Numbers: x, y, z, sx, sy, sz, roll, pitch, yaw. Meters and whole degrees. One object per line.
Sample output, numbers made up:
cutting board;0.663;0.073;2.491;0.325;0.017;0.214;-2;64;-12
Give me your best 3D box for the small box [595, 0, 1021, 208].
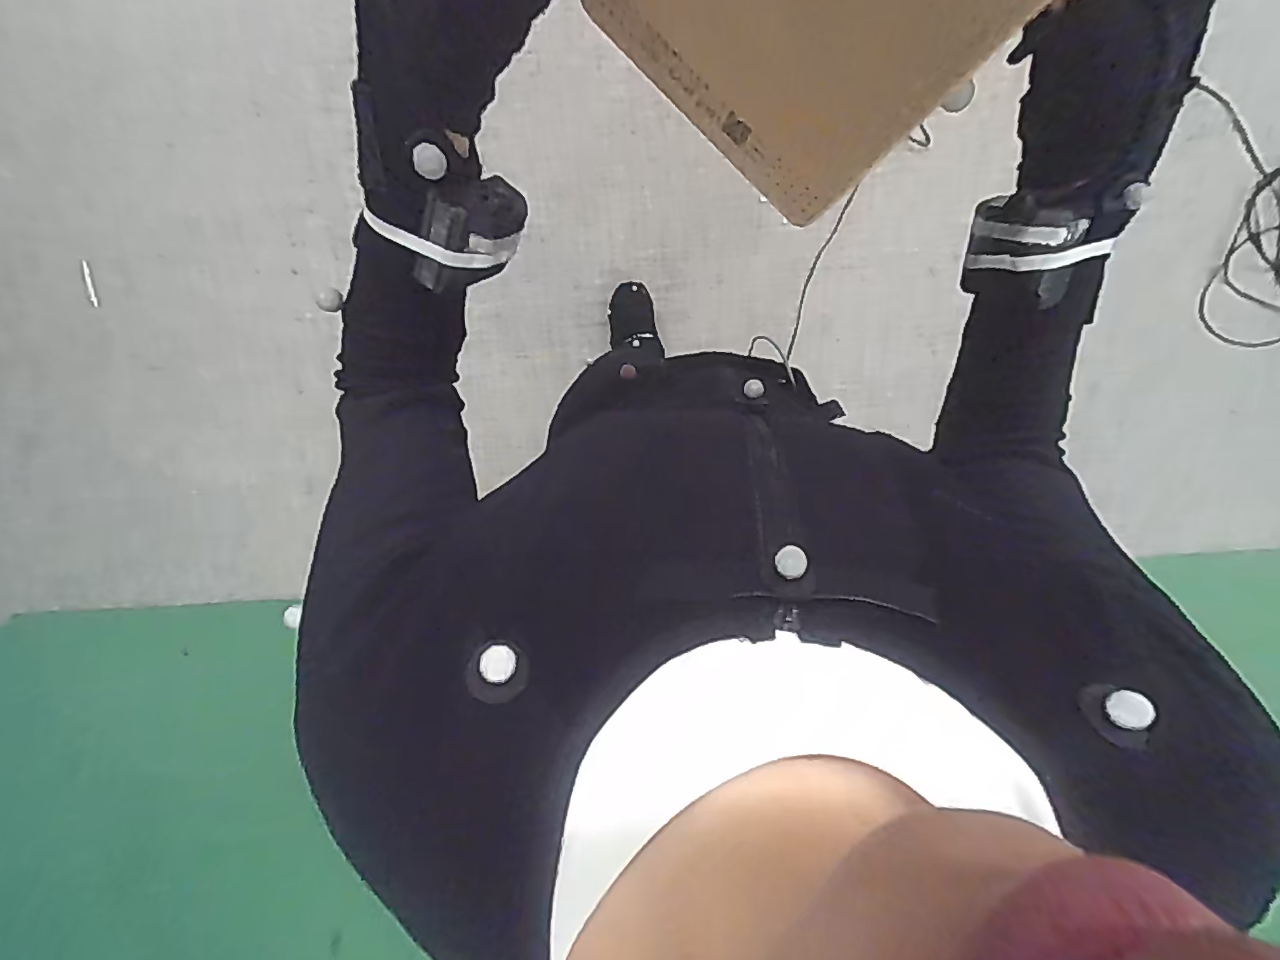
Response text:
small box;0.098;-0.265;0.226;0.168;0.176;0.179;41;81;-8
